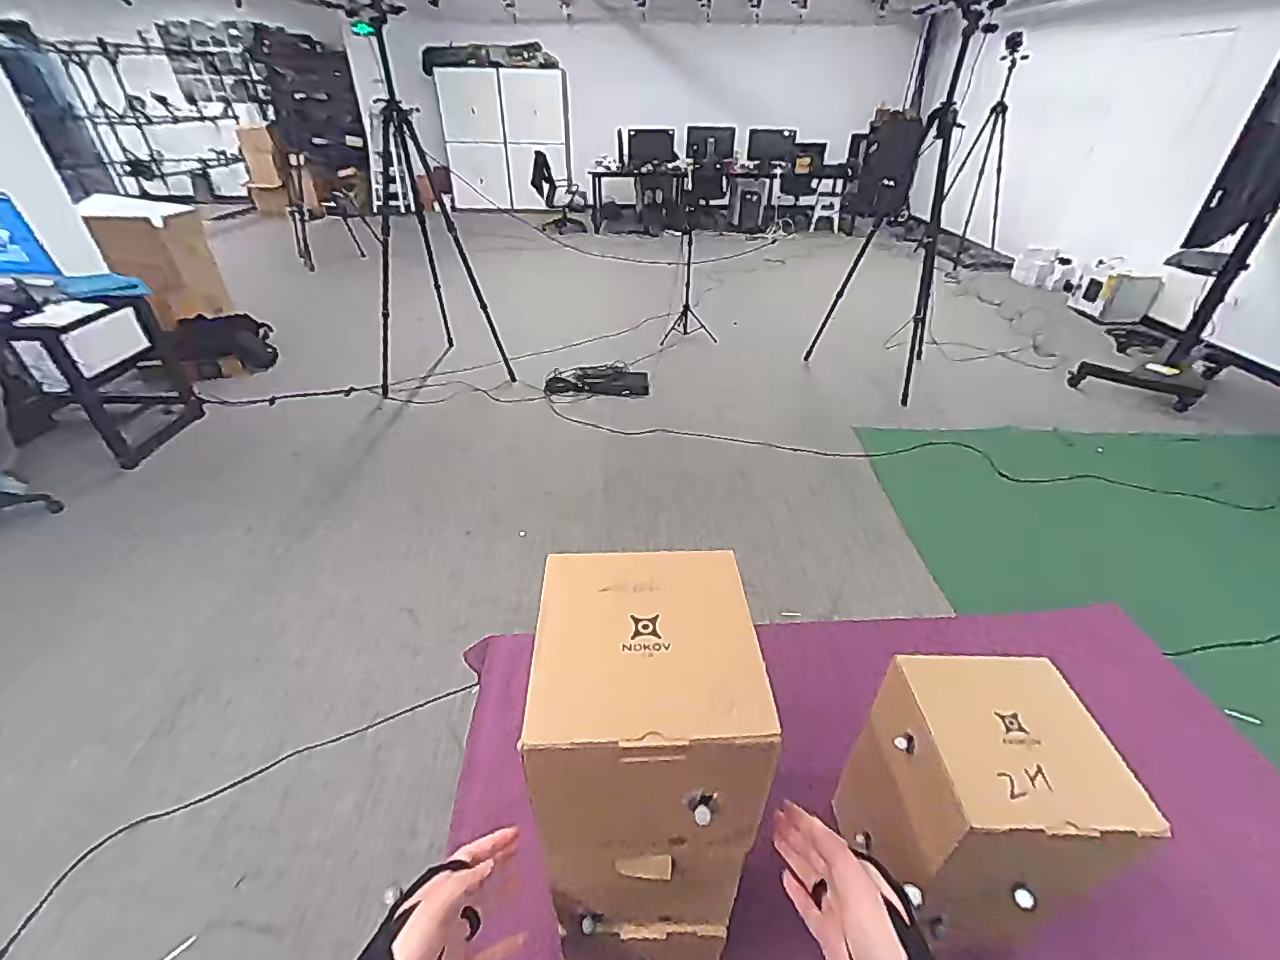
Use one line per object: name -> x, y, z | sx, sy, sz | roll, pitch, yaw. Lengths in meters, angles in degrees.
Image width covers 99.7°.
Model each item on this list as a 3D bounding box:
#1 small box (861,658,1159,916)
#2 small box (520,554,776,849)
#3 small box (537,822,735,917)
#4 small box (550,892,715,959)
small box -> 0.349, 0.311, 0.560 | 0.168, 0.176, 0.179 | 2, 36, 1
small box -> 0.003, 0.181, 0.450 | 0.168, 0.176, 0.179 | 1, 35, -2
small box -> -0.001, 0.311, 0.548 | 0.168, 0.176, 0.179 | 2, 35, 0
small box -> -0.007, 0.449, 0.638 | 0.168, 0.176, 0.179 | 2, 37, -1
